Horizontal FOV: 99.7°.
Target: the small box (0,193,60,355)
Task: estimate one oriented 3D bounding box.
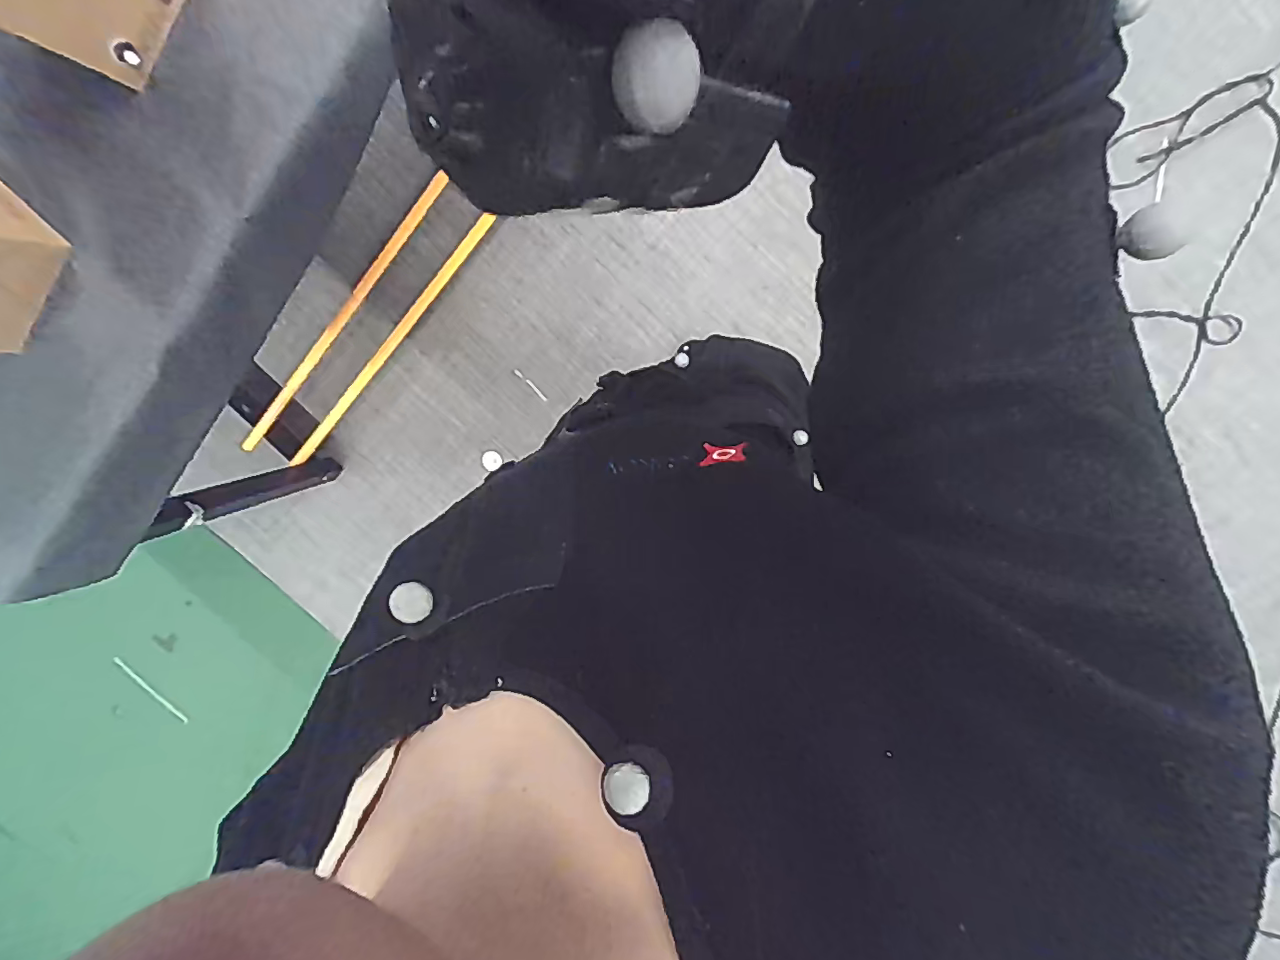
[{"bbox_3d":[-0.818,-0.256,0.598,0.168,0.176,0.179,43,105,-1],"label":"small box"}]

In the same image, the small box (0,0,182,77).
[{"bbox_3d":[-0.579,-0.528,0.504,0.179,0.176,0.168,43,104,-2],"label":"small box"}]
